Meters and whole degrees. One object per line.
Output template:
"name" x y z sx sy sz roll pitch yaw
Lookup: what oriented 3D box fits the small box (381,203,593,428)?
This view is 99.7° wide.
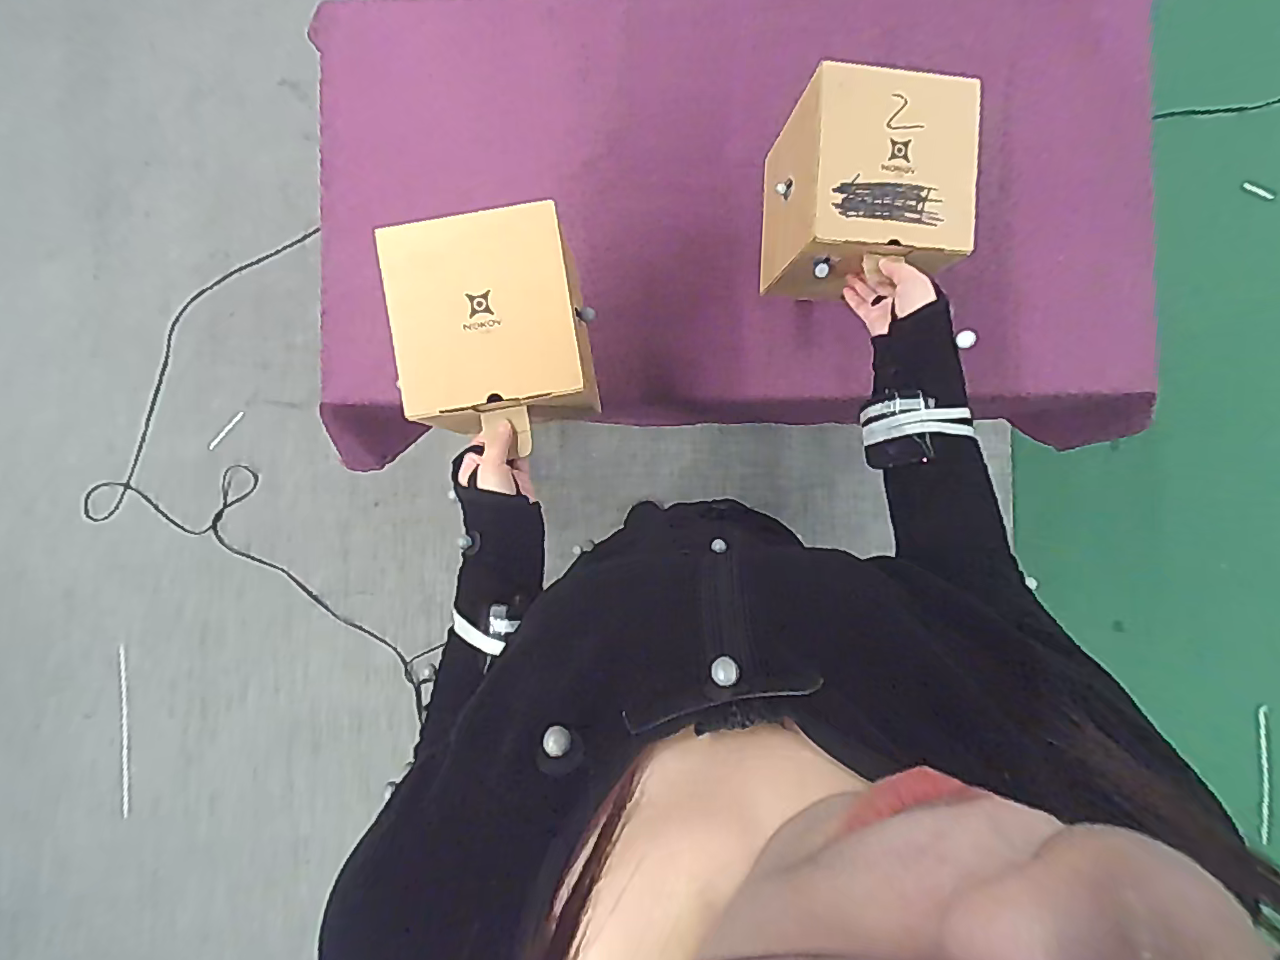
"small box" -0.148 -0.159 0.579 0.168 0.176 0.179 -9 91 0
